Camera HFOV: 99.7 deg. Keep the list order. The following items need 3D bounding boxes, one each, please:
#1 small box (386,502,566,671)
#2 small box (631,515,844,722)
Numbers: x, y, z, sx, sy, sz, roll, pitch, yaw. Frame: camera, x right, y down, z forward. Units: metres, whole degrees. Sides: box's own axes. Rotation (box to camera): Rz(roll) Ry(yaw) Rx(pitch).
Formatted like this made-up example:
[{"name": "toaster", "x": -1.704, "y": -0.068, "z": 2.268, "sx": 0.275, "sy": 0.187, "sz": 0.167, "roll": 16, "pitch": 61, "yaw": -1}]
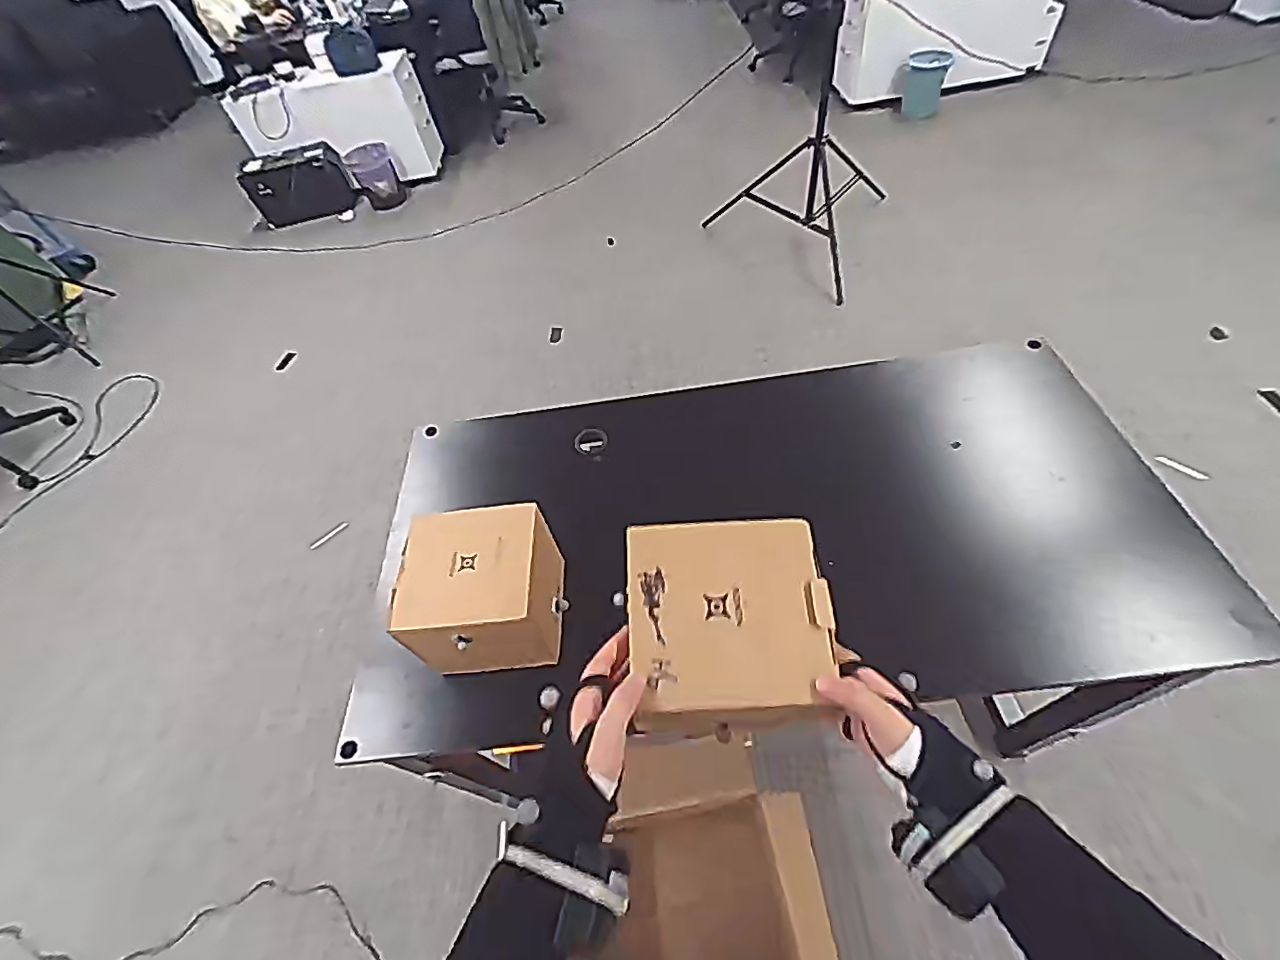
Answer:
[{"name": "small box", "x": -0.207, "y": 0.151, "z": 0.738, "sx": 0.179, "sy": 0.176, "sz": 0.168, "roll": -6, "pitch": 54, "yaw": 3}, {"name": "small box", "x": 0.080, "y": 0.145, "z": 0.548, "sx": 0.179, "sy": 0.176, "sz": 0.168, "roll": -2, "pitch": 60, "yaw": 0}]
